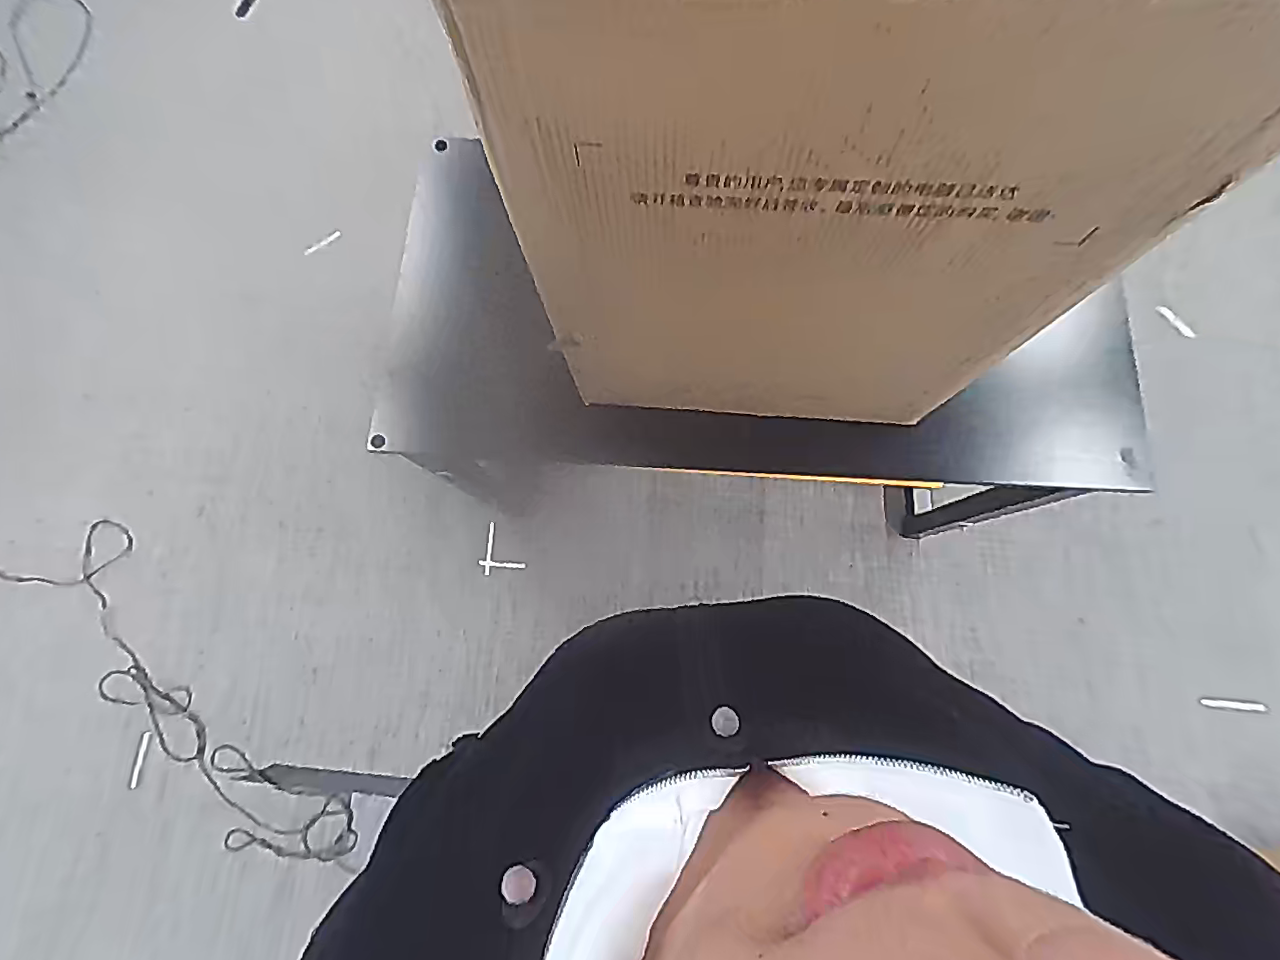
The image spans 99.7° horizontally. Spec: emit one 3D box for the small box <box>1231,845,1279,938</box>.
[{"bbox_3d":[1.520,0.949,1.219,0.179,0.176,0.168,-1,76,3],"label":"small box"}]
